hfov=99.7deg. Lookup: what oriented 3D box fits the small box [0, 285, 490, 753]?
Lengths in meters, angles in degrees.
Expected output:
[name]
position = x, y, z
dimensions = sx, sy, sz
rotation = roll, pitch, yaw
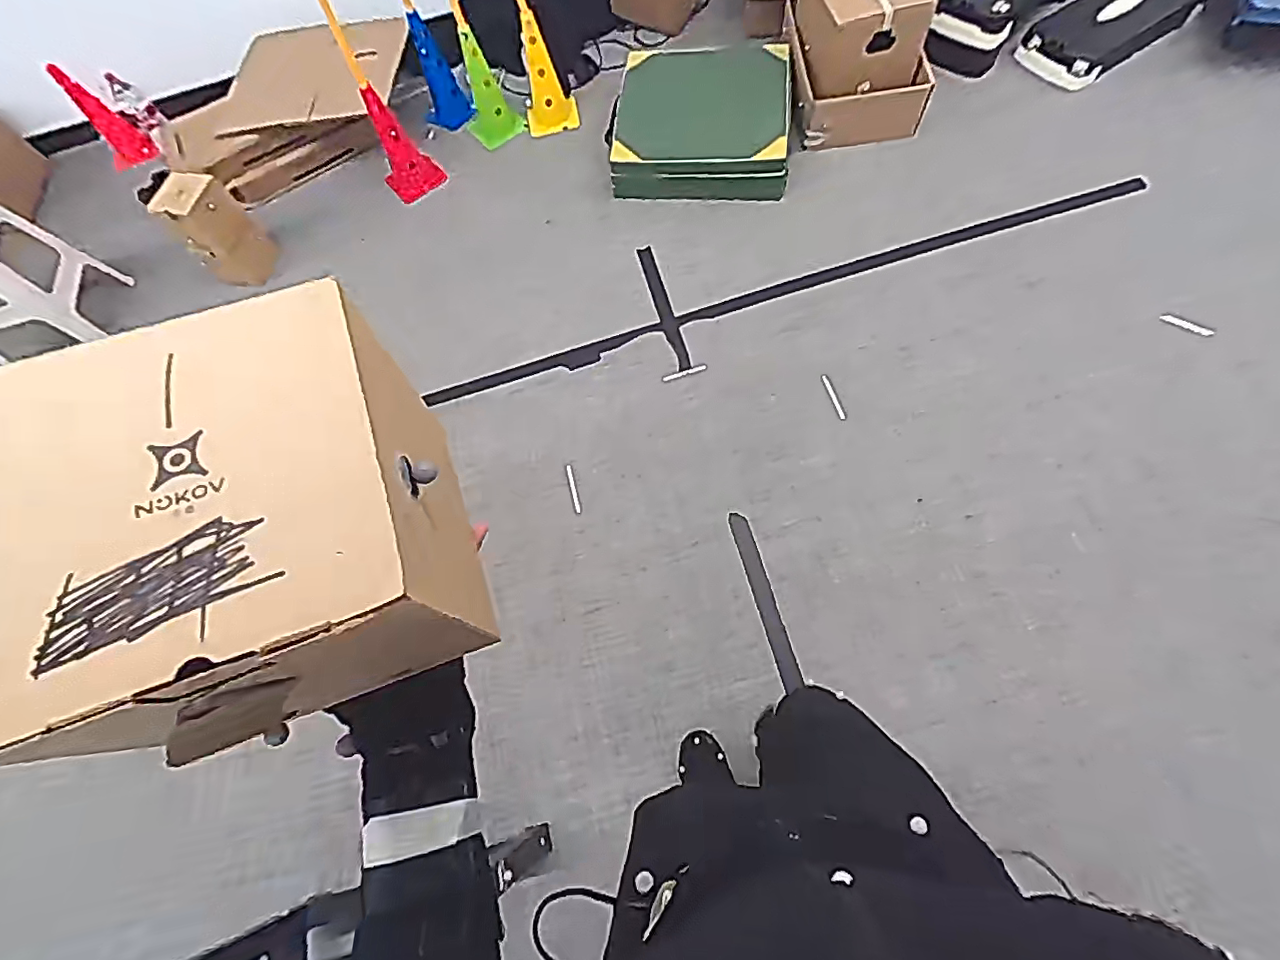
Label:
[small box]
position = -0.202, 0.030, 0.313
dimensions = 0.168, 0.176, 0.179
rotation = -20, 69, -8
